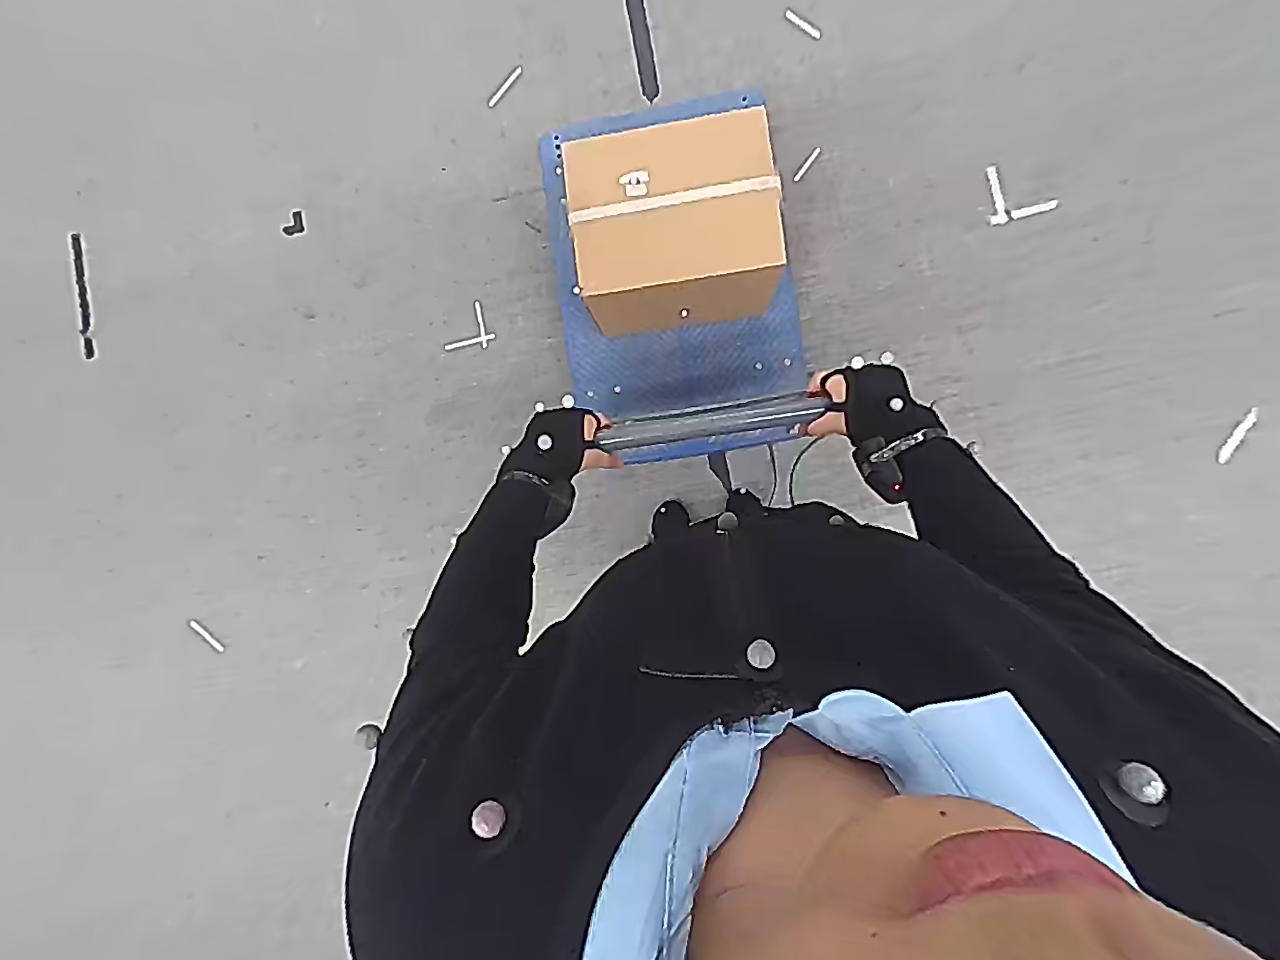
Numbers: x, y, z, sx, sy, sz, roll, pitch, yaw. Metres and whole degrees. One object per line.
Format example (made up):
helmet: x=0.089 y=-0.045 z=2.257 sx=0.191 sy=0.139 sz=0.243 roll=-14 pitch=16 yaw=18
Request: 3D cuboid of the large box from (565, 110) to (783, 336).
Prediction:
large box: x=0.080 y=-0.544 z=1.218 sx=0.408 sy=0.320 sz=0.320 roll=-8 pitch=88 yaw=6
